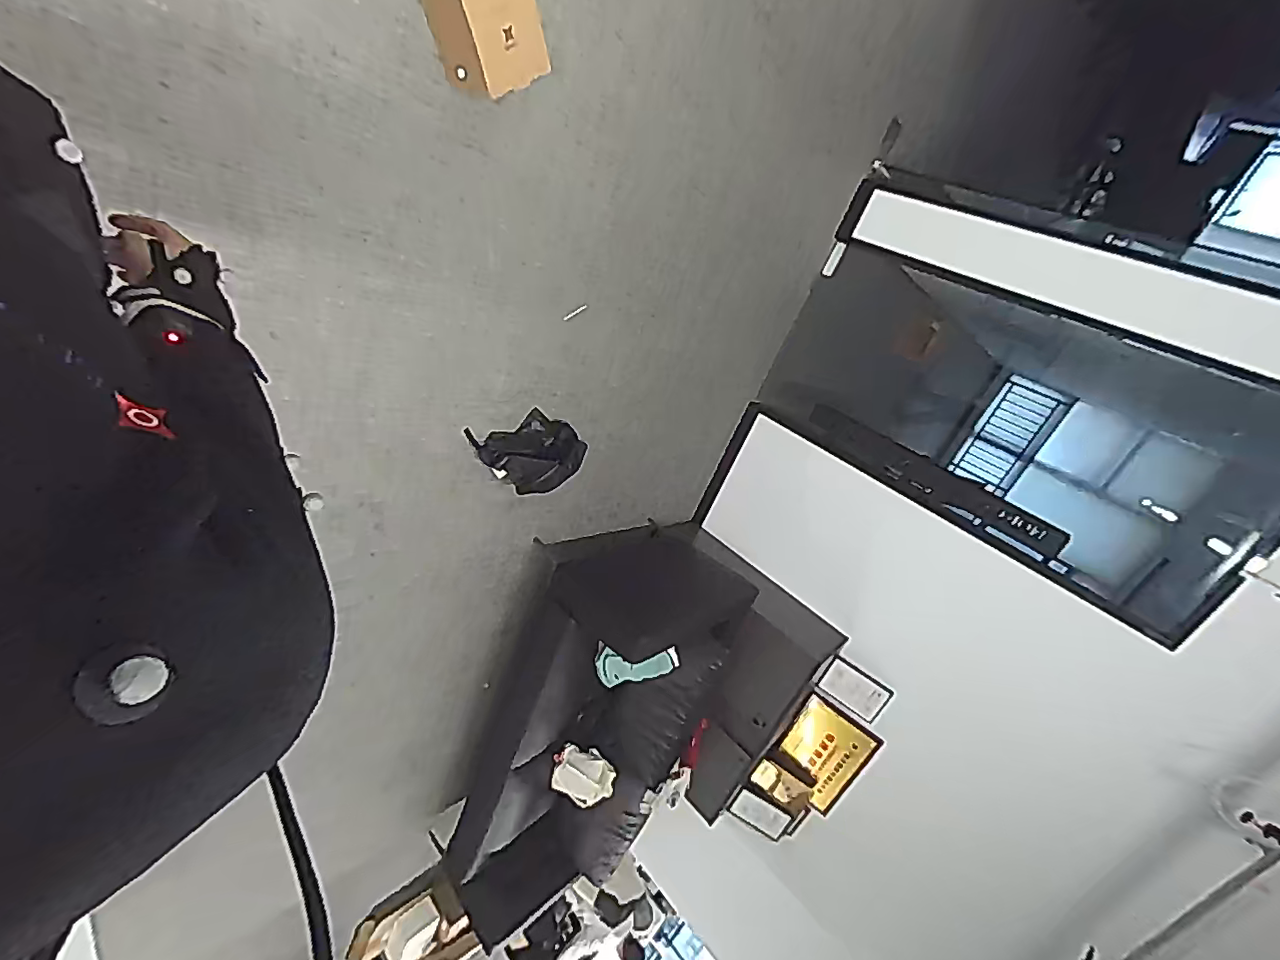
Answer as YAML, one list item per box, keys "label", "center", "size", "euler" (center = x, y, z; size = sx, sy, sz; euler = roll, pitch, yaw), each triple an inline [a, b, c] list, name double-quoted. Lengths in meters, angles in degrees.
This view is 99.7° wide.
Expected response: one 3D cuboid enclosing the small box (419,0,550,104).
- label: "small box"
  center: [-0.319, -0.921, 1.118]
  size: [0.168, 0.176, 0.179]
  euler: [-42, 148, -20]
